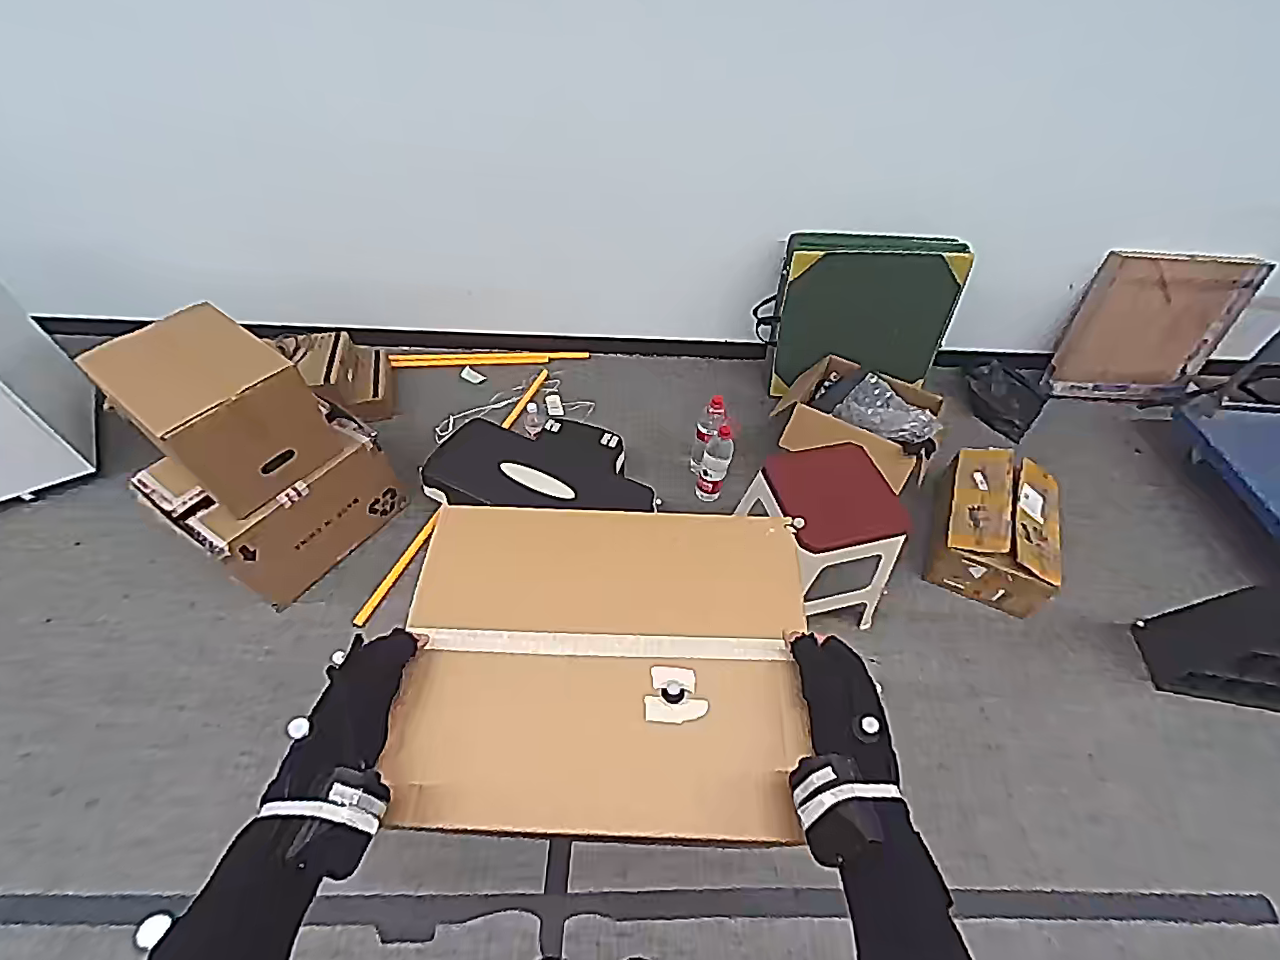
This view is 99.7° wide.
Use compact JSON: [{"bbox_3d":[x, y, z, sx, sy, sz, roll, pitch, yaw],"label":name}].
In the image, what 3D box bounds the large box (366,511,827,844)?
[{"bbox_3d":[-0.038,0.254,0.665,0.408,0.320,0.320,3,55,0],"label":"large box"}]
